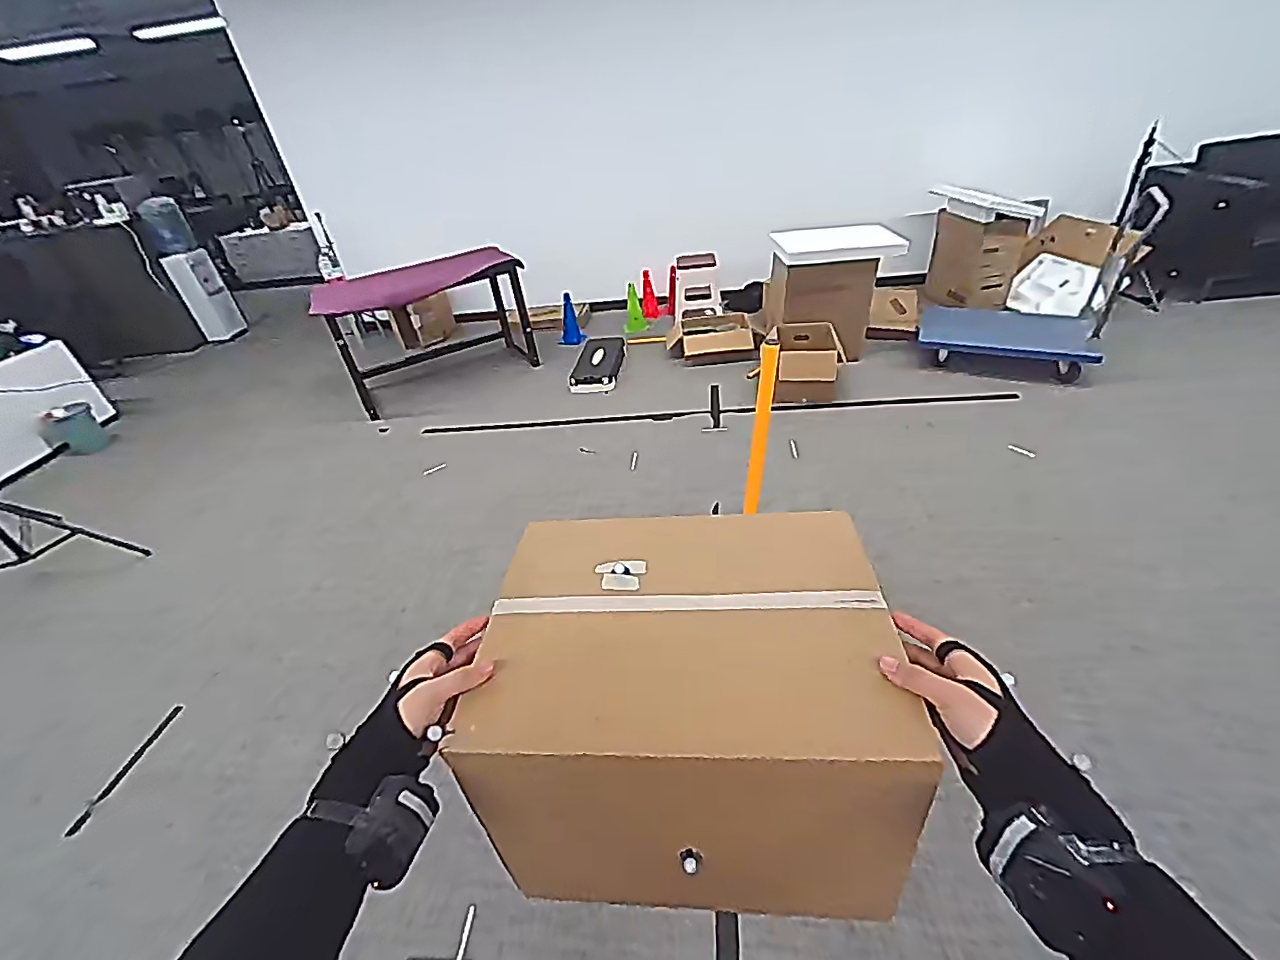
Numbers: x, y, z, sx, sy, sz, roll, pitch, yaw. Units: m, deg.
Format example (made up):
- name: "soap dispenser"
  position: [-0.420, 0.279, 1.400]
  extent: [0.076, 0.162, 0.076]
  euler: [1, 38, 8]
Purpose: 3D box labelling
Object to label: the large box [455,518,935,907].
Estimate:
- name: "large box"
  position: [0.064, 0.269, 0.646]
  extent: [0.408, 0.320, 0.320]
  euler: [-4, 32, 7]
